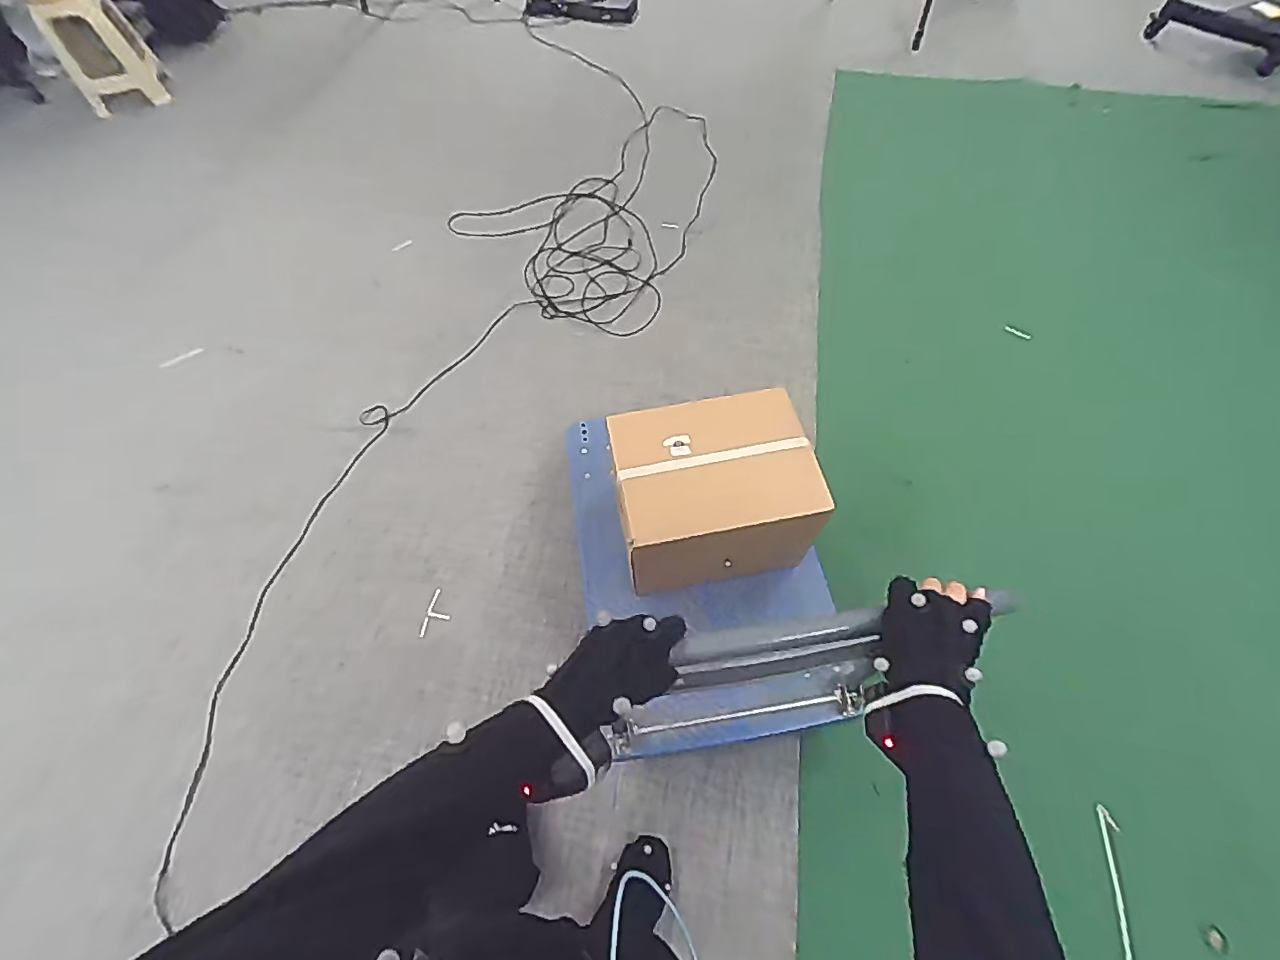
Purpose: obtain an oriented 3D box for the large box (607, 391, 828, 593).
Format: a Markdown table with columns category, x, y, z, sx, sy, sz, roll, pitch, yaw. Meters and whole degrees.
| category | x | y | z | sx | sy | sz | roll | pitch | yaw |
| --- | --- | --- | --- | --- | --- | --- | --- | --- | --- |
| large box | 0.158 | 0.039 | 1.255 | 0.408 | 0.320 | 0.320 | -11 | 61 | -4 |
